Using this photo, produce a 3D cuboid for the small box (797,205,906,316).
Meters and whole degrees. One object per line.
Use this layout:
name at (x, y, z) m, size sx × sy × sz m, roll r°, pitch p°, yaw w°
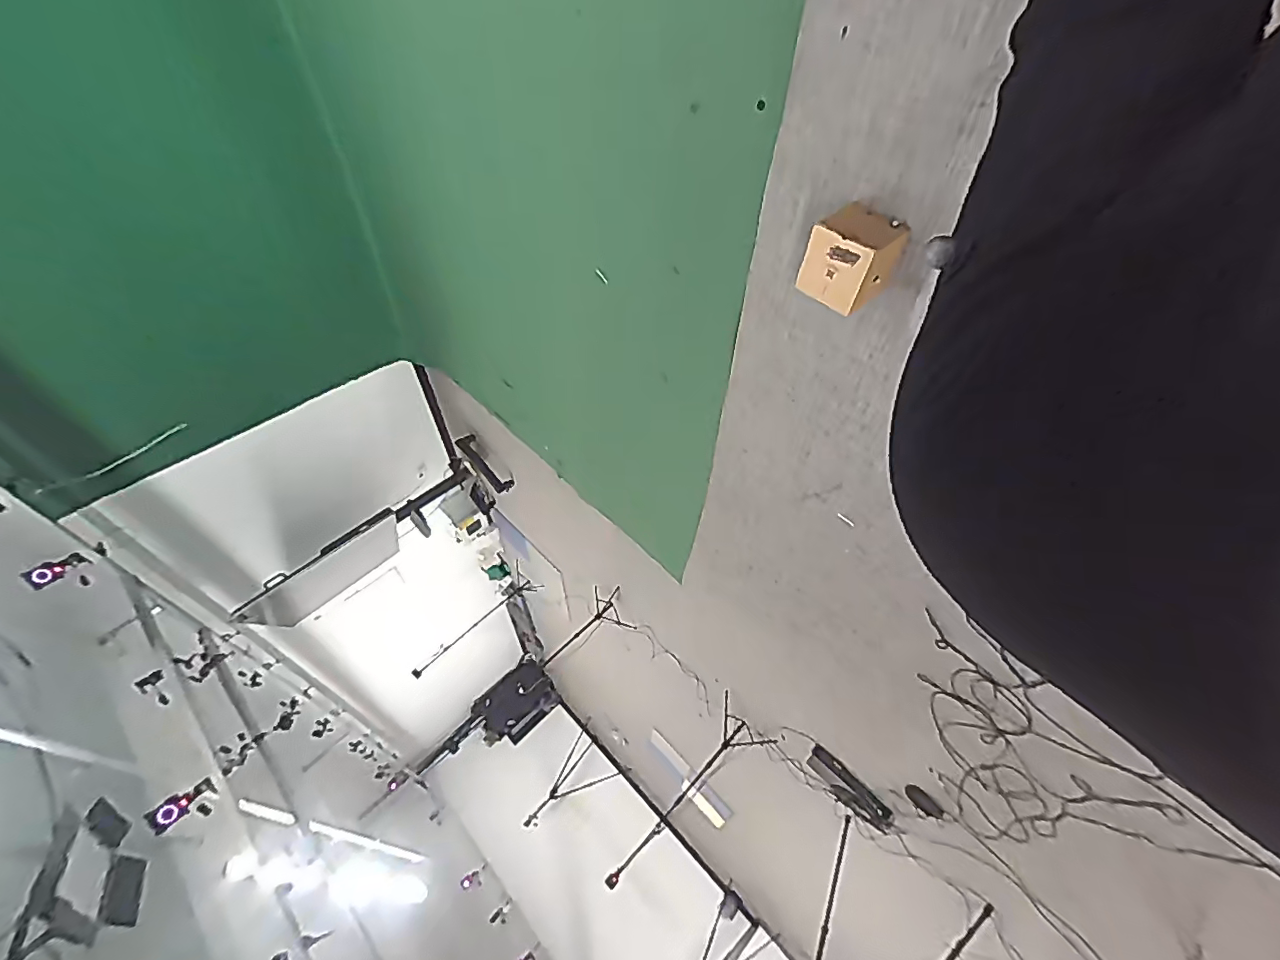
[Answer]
small box at (0.525, -0.548, 1.339) m, size 0.168 × 0.176 × 0.179 m, roll 41°, pitch 151°, yaw 23°
